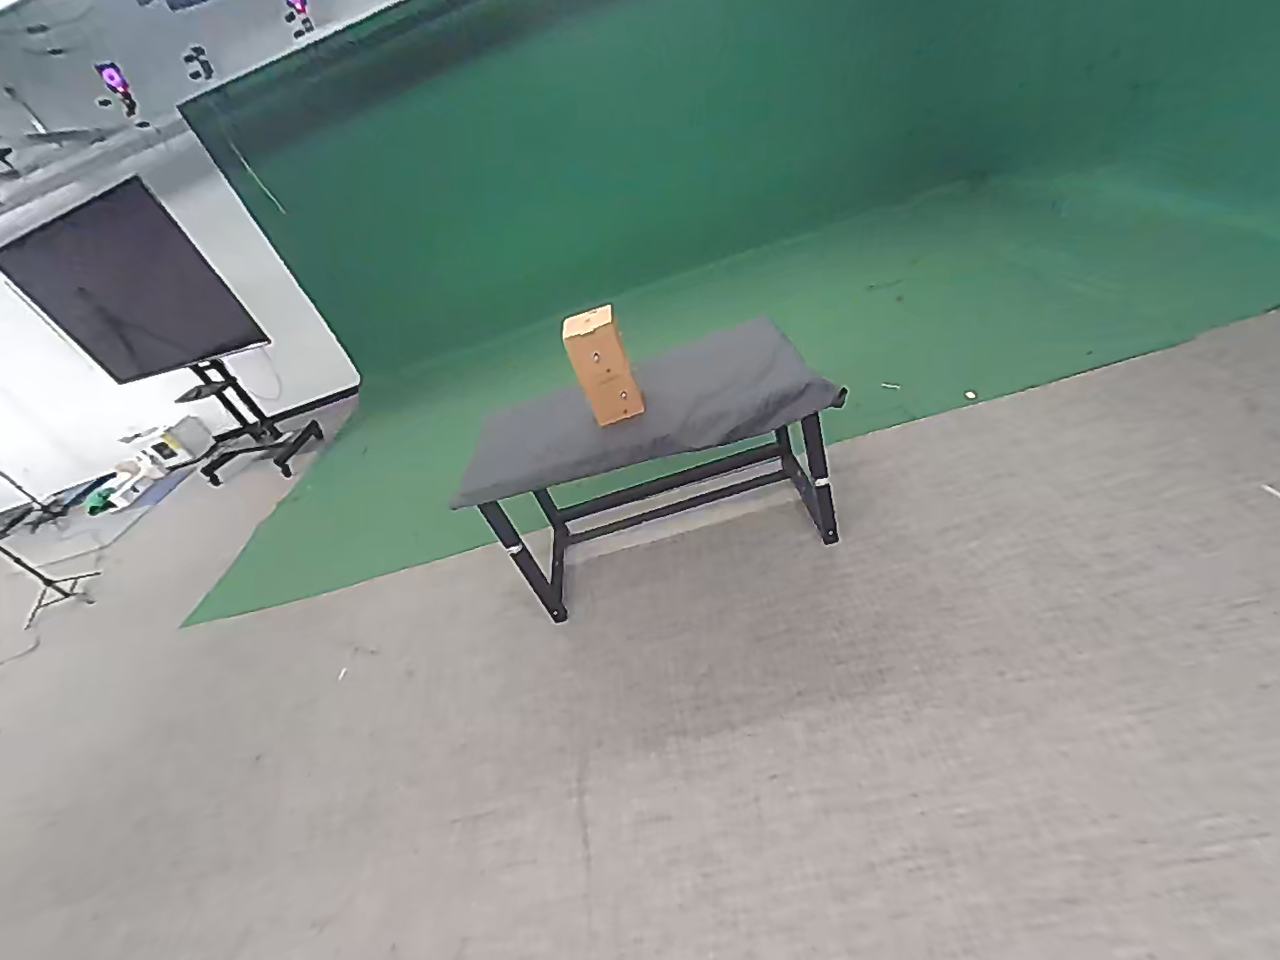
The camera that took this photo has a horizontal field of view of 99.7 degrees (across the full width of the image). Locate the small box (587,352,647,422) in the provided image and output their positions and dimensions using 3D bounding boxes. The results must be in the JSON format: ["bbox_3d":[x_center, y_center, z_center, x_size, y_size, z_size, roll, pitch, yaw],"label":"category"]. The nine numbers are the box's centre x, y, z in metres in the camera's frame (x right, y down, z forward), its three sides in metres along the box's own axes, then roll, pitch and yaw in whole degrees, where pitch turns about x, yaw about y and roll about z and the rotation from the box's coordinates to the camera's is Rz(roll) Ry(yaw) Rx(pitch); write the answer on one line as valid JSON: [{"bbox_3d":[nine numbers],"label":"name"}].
[{"bbox_3d":[-0.079,-0.317,1.876,0.168,0.176,0.179,-16,34,6],"label":"small box"}]

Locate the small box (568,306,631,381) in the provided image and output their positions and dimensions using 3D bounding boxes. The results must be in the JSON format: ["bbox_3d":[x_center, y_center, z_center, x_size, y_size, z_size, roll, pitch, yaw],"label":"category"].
[{"bbox_3d":[-0.130,-0.445,1.787,0.168,0.176,0.179,-15,36,7],"label":"small box"}]
